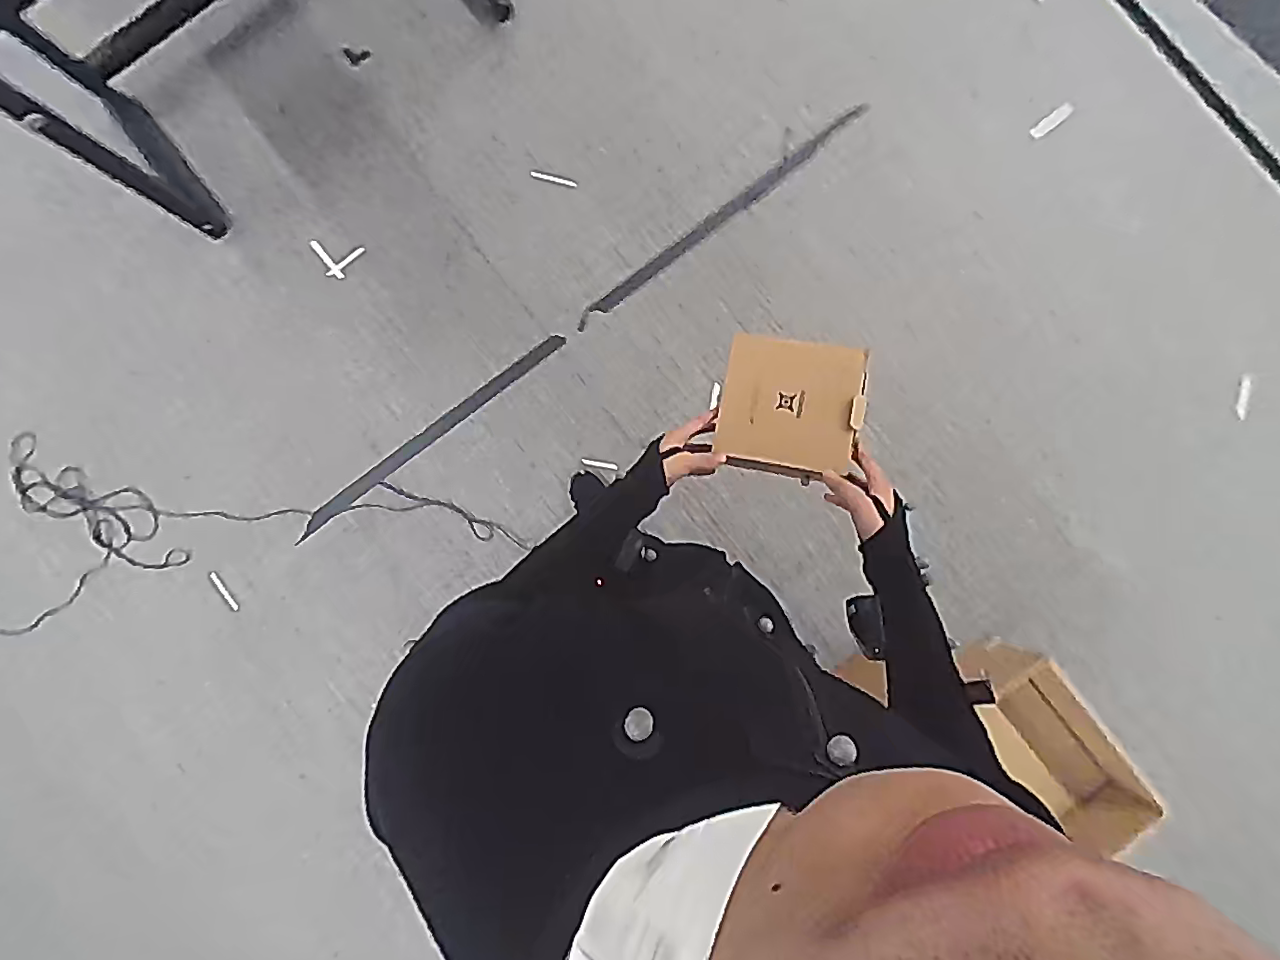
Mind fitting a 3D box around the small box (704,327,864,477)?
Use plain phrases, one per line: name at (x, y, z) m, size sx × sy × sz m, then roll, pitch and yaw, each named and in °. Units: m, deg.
small box at (0.197, -0.100, 0.765) m, size 0.179 × 0.176 × 0.168 m, roll 10°, pitch 87°, yaw 12°
